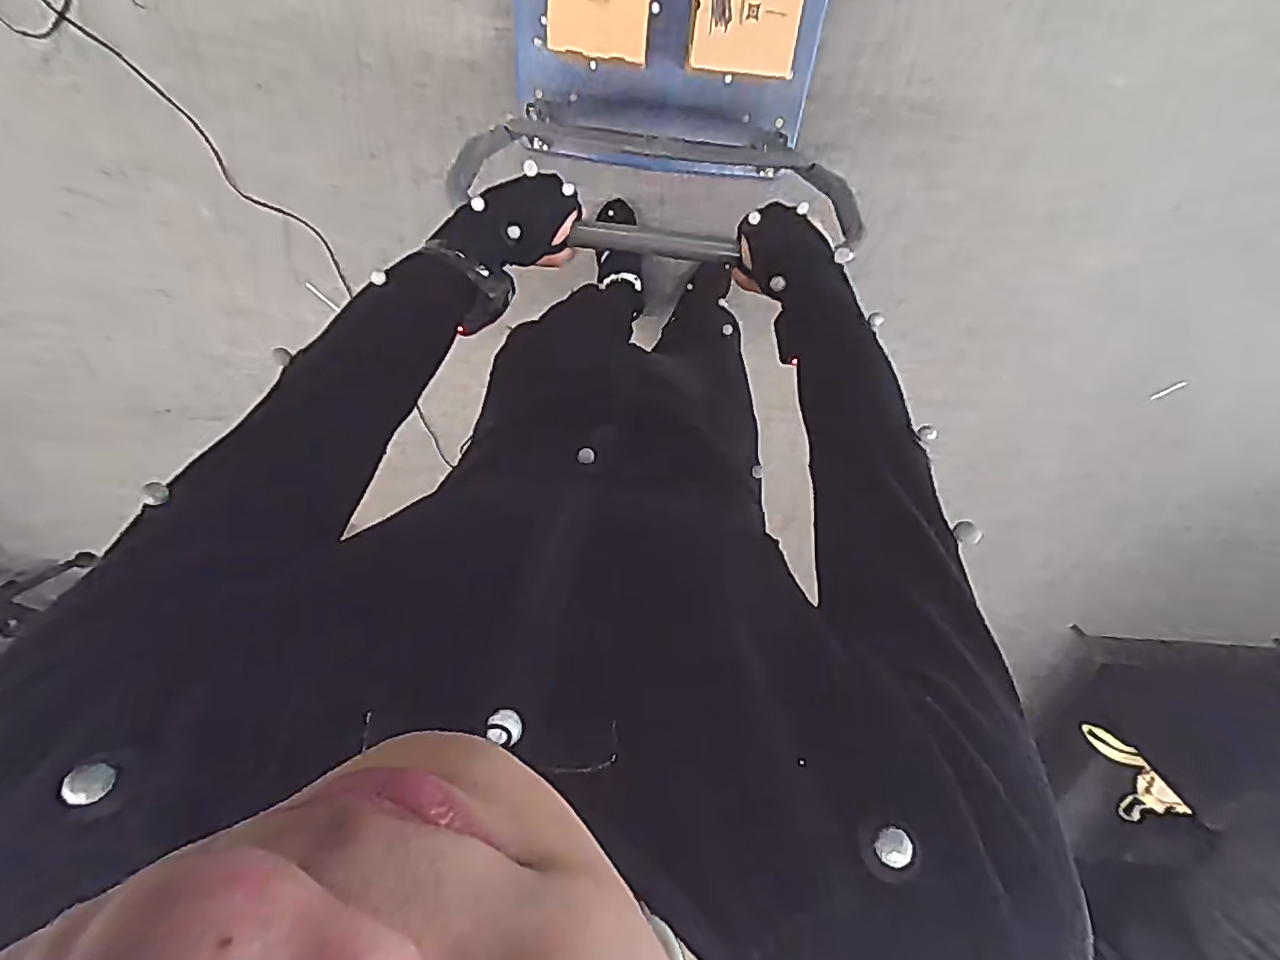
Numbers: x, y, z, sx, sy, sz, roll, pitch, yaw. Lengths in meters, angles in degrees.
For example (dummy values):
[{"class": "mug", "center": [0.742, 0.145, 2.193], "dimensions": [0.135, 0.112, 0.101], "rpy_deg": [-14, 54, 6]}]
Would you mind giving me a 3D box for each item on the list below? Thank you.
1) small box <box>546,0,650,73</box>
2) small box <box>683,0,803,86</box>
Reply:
[{"class": "small box", "center": [-0.067, -0.825, 0.933], "dimensions": [0.168, 0.176, 0.179], "rpy_deg": [6, 125, -4]}, {"class": "small box", "center": [0.173, -0.799, 0.944], "dimensions": [0.179, 0.176, 0.168], "rpy_deg": [4, 125, -3]}]
